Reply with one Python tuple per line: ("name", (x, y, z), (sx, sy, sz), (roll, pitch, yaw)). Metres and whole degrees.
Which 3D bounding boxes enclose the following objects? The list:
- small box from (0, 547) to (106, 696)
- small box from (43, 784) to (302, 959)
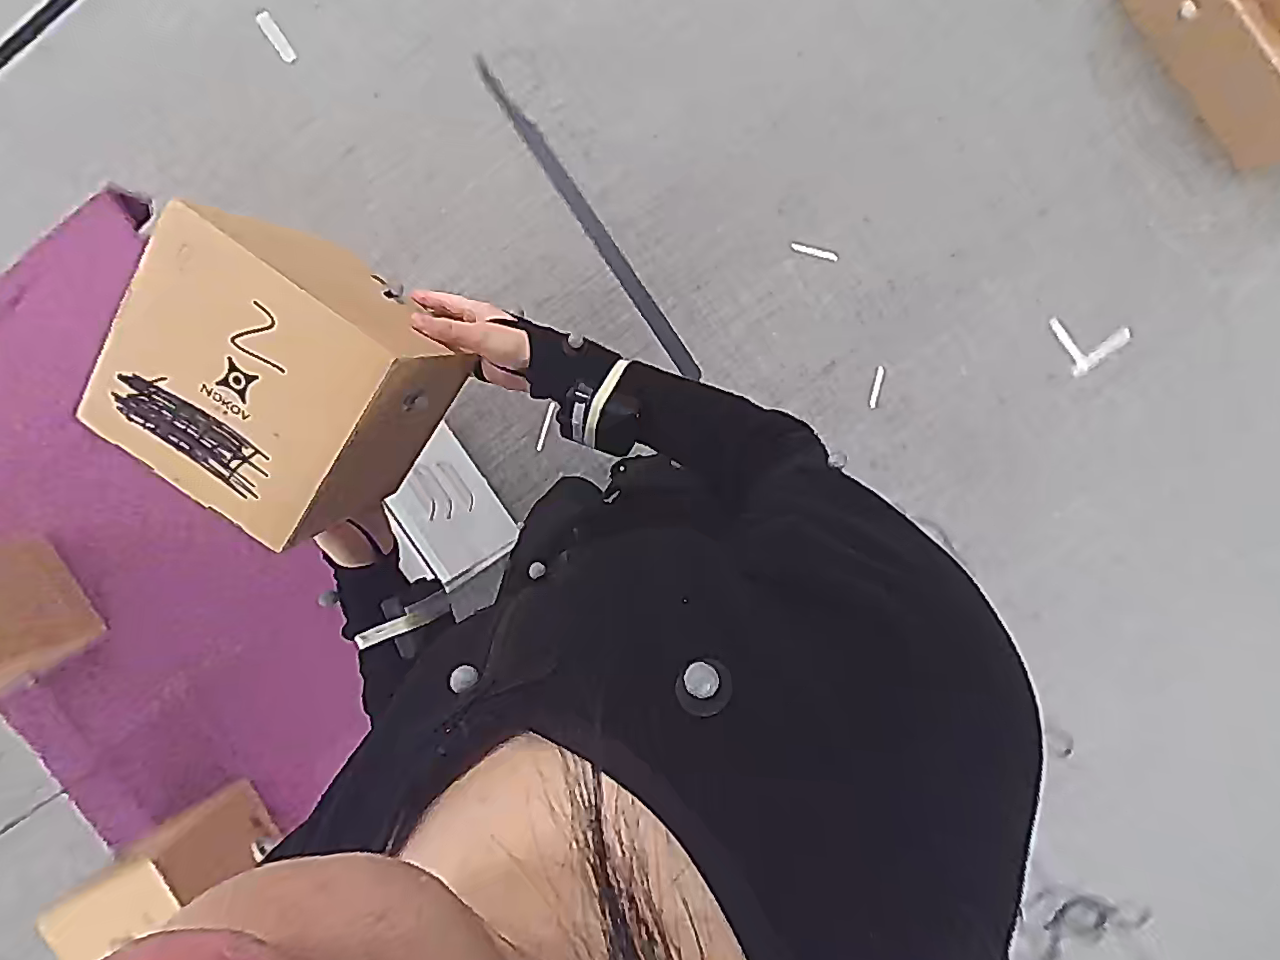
("small box", (-0.911, 0.206, 0.734), (0.168, 0.176, 0.179), (-32, 93, 4))
("small box", (-0.625, 0.572, 0.748), (0.179, 0.176, 0.168), (-30, 93, 2))
